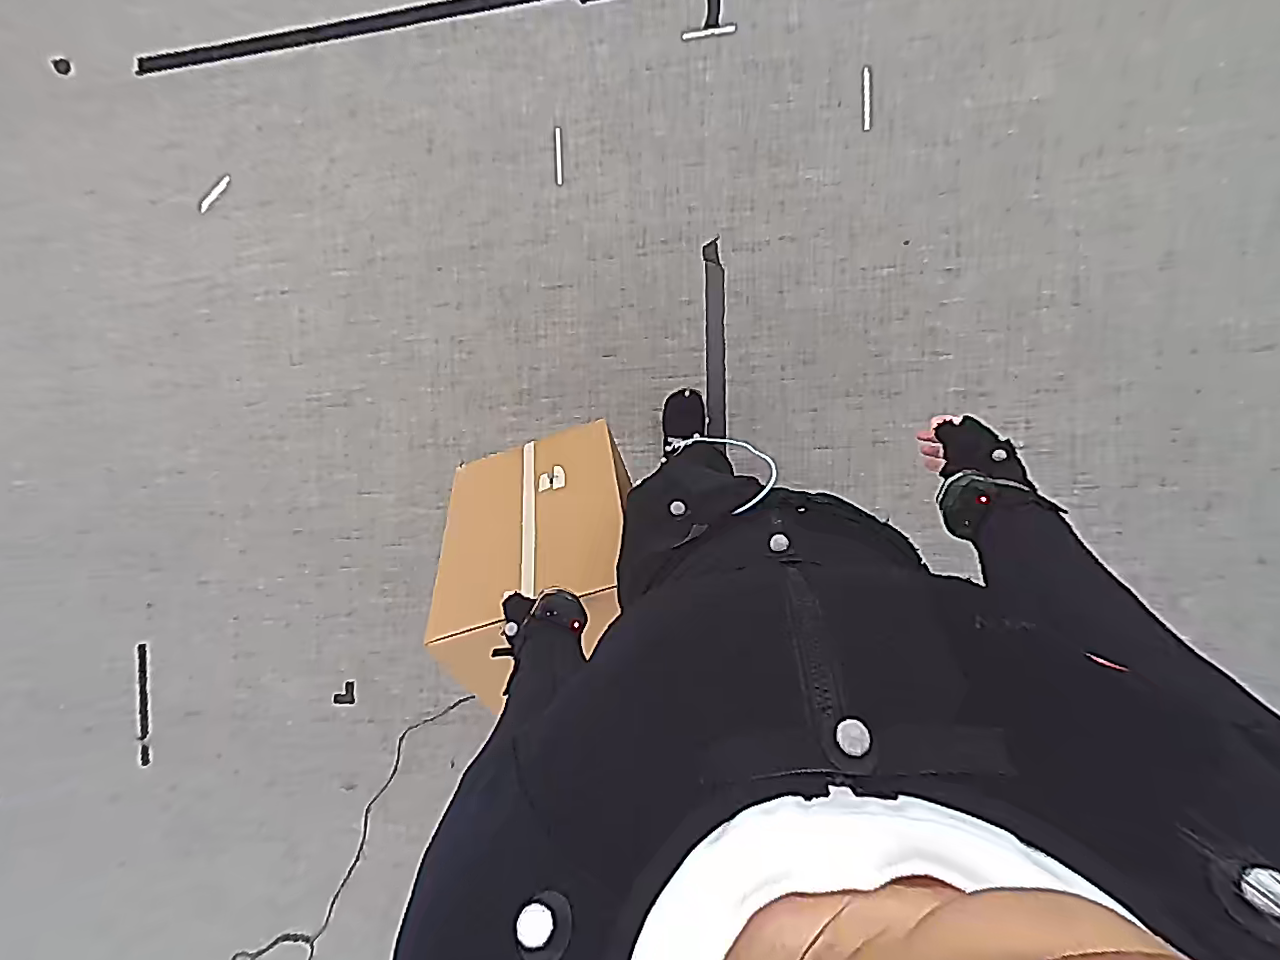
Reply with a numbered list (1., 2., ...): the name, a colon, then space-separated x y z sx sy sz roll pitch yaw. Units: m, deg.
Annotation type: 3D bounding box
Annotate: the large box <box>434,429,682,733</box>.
1. large box: -0.139 0.175 1.000 0.320 0.408 0.320 -17 129 3
